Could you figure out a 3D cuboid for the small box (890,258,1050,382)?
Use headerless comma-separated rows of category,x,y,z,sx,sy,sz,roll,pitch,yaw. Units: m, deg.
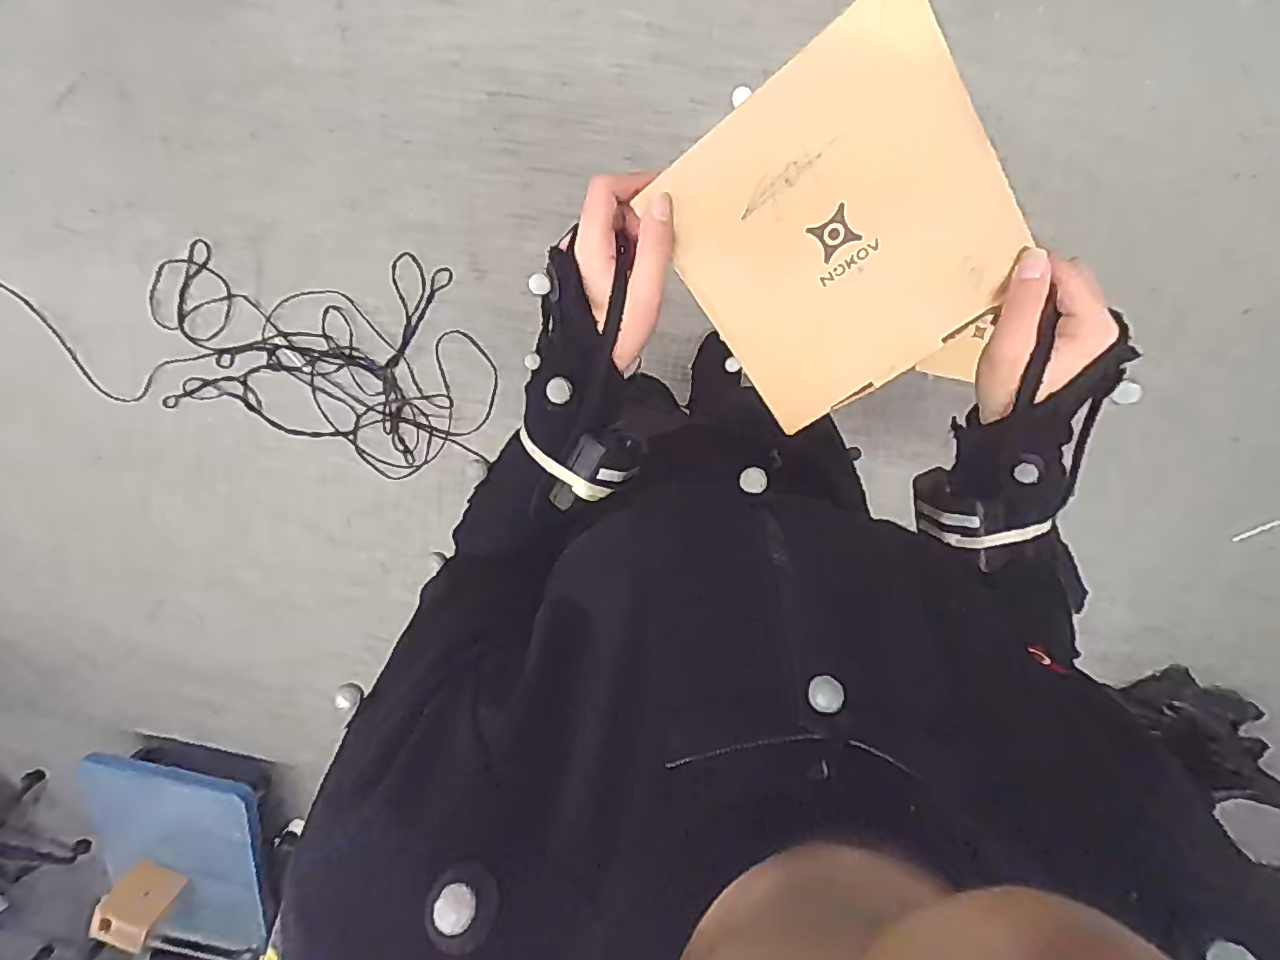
small box,0.575,-0.291,0.975,0.168,0.176,0.179,12,111,2
